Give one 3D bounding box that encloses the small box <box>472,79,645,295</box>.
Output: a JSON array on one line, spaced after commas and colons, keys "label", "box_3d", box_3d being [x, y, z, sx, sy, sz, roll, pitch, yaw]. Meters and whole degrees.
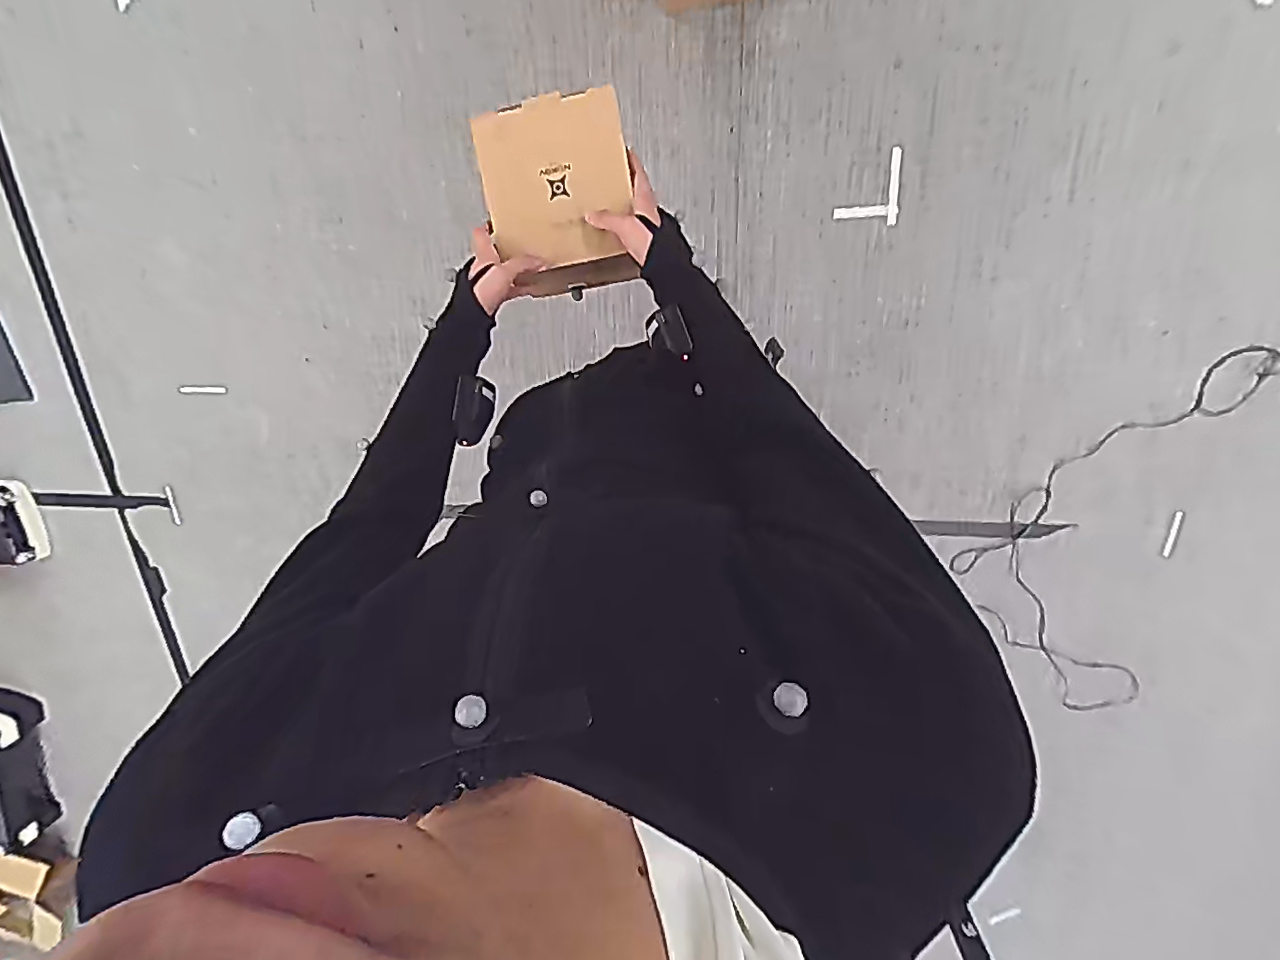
[{"label": "small box", "box_3d": [-0.088, -0.346, 0.675, 0.168, 0.176, 0.179, -10, 100, 4]}]
